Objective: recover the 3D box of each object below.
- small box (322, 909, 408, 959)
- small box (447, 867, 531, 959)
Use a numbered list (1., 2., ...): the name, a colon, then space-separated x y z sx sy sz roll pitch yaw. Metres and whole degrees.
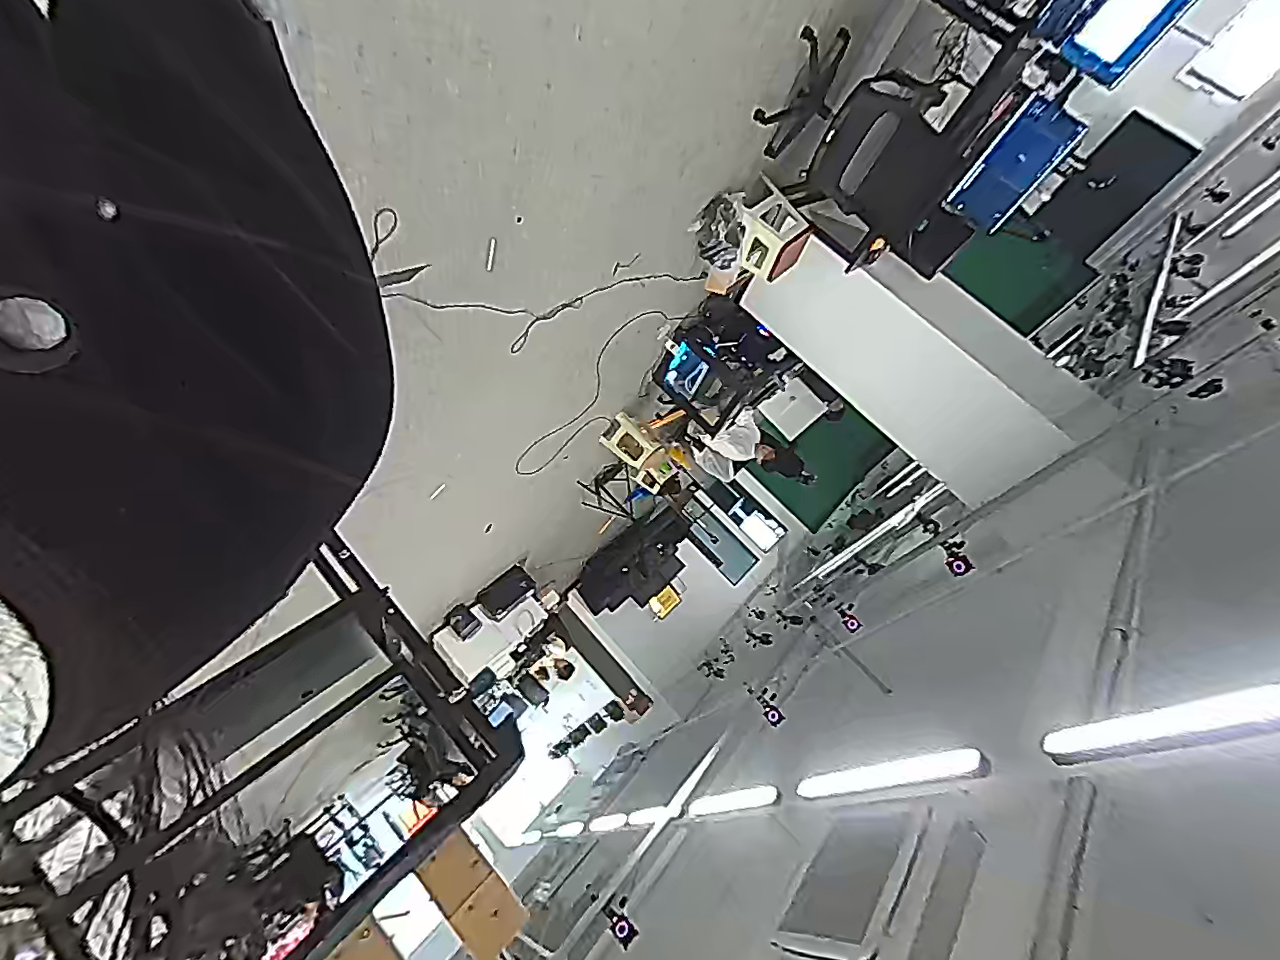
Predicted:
1. small box: -0.748 1.305 1.456 0.168 0.176 0.179 -35 167 -38
2. small box: -0.452 1.285 1.598 0.168 0.176 0.179 -36 167 -37
